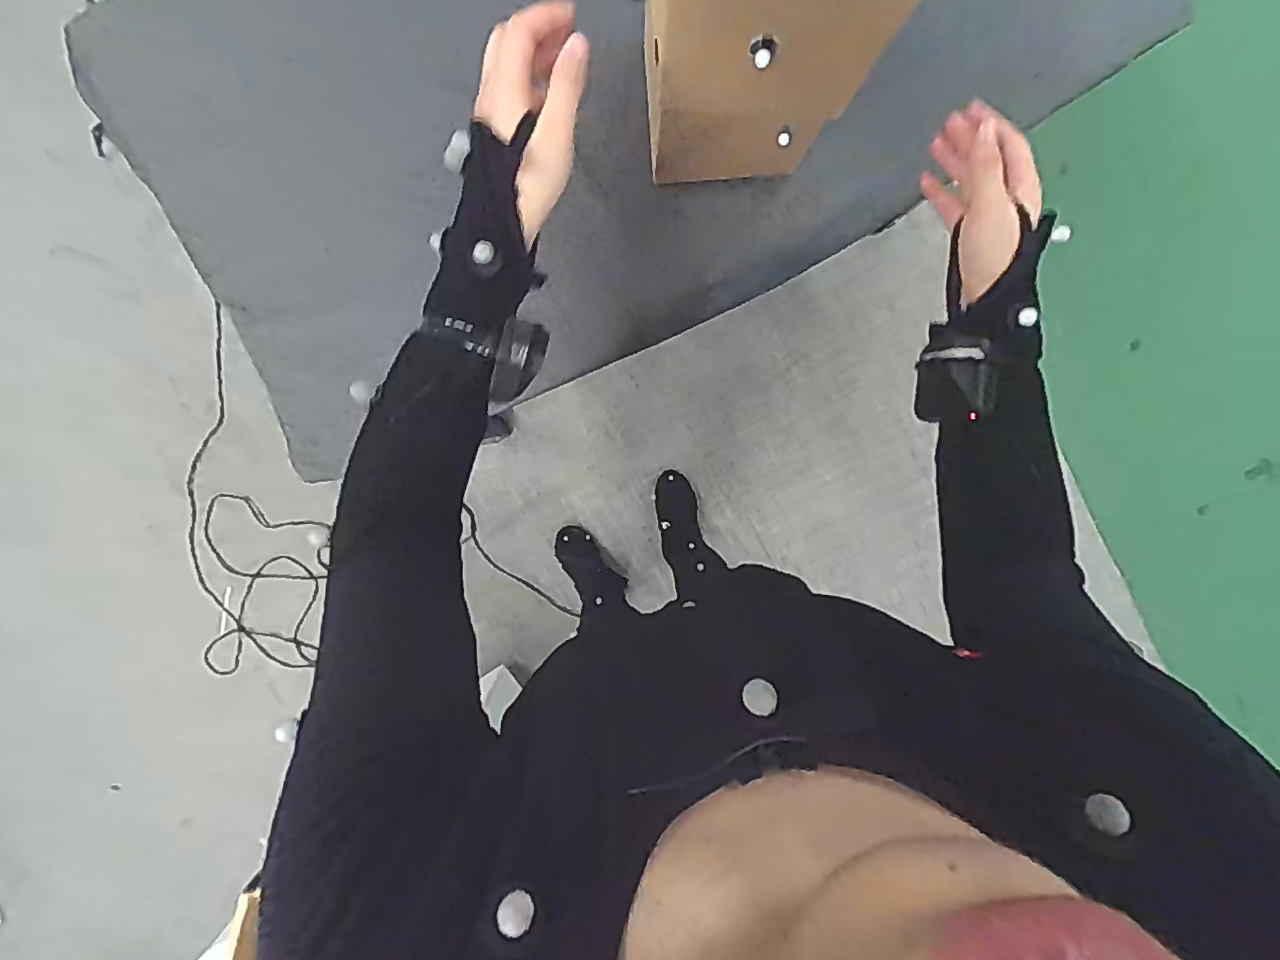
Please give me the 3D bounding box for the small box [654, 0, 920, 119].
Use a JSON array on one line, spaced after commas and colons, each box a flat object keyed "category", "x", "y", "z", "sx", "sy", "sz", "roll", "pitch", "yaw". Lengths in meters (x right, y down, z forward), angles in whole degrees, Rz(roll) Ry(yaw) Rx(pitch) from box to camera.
[{"category": "small box", "x": 0.105, "y": -0.410, "z": 0.417, "sx": 0.179, "sy": 0.176, "sz": 0.168, "roll": 3, "pitch": 96, "yaw": 0}]
